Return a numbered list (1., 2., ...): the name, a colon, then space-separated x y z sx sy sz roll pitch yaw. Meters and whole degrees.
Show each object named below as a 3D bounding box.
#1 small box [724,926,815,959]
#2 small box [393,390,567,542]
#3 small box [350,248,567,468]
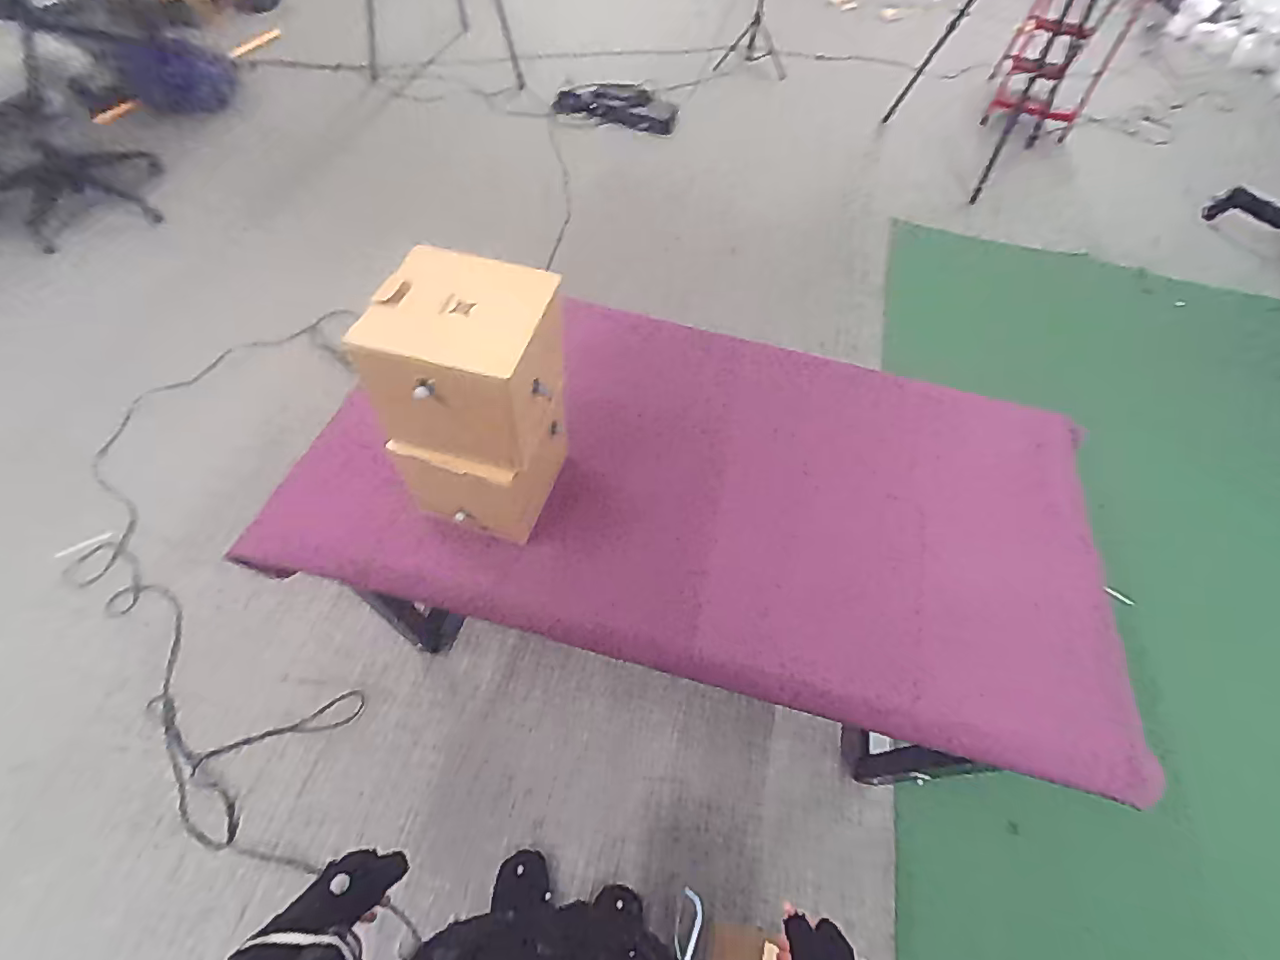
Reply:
1. small box: 0.228 0.889 0.900 0.168 0.176 0.179 18 57 6
2. small box: -0.212 -0.041 0.768 0.168 0.176 0.179 18 58 5
3. small box: -0.190 -0.135 0.636 0.179 0.176 0.168 14 58 4
